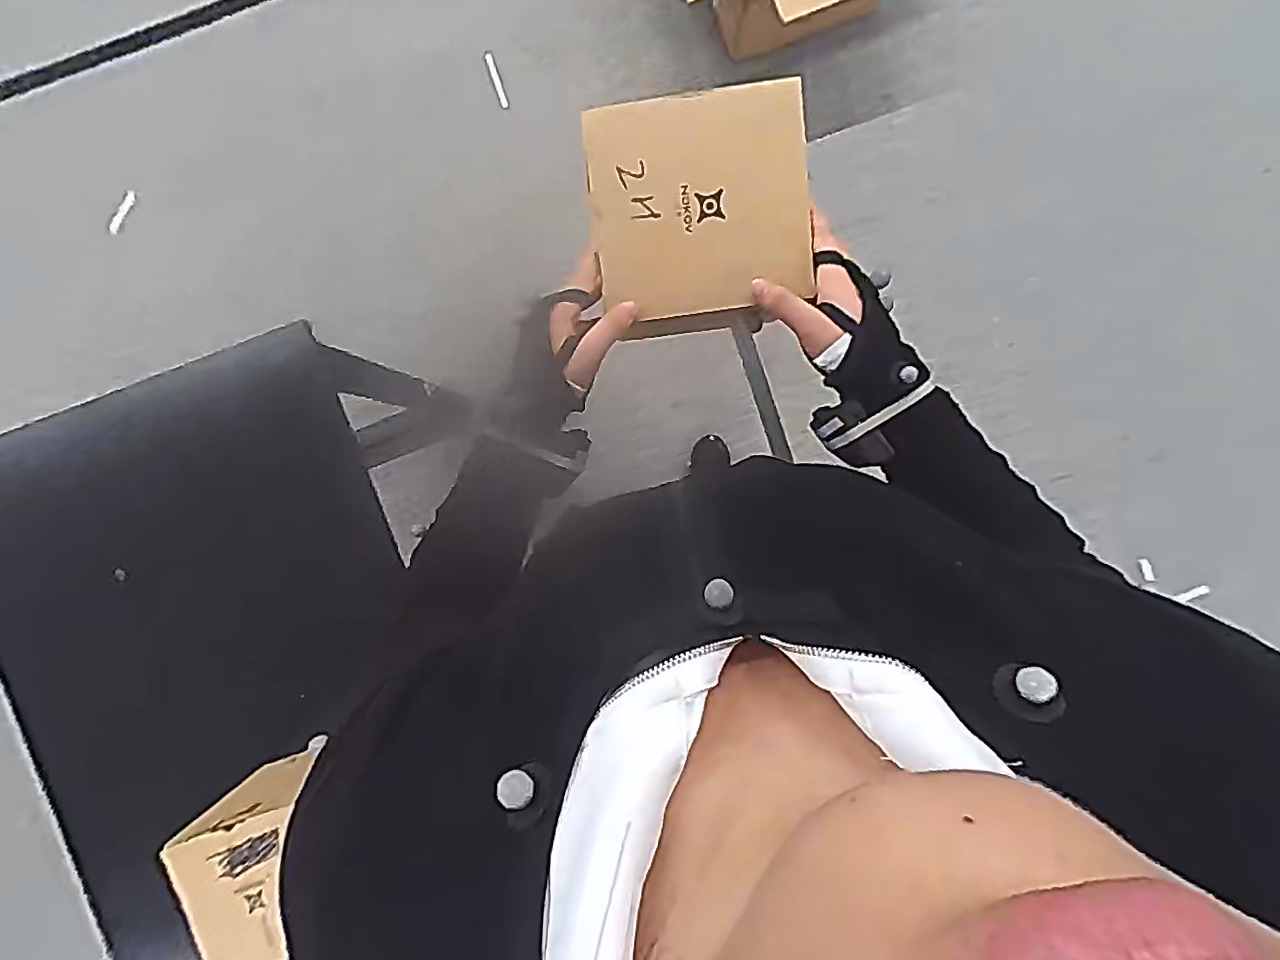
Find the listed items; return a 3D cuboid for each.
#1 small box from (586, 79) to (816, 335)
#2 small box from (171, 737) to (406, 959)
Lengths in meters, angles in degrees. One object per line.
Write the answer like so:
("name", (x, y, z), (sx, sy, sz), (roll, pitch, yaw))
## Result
("small box", (0.054, -0.235, 0.512), (0.179, 0.176, 0.168), (-6, 100, 4))
("small box", (-0.440, 0.467, 0.707), (0.168, 0.176, 0.179), (-20, 92, 1))
